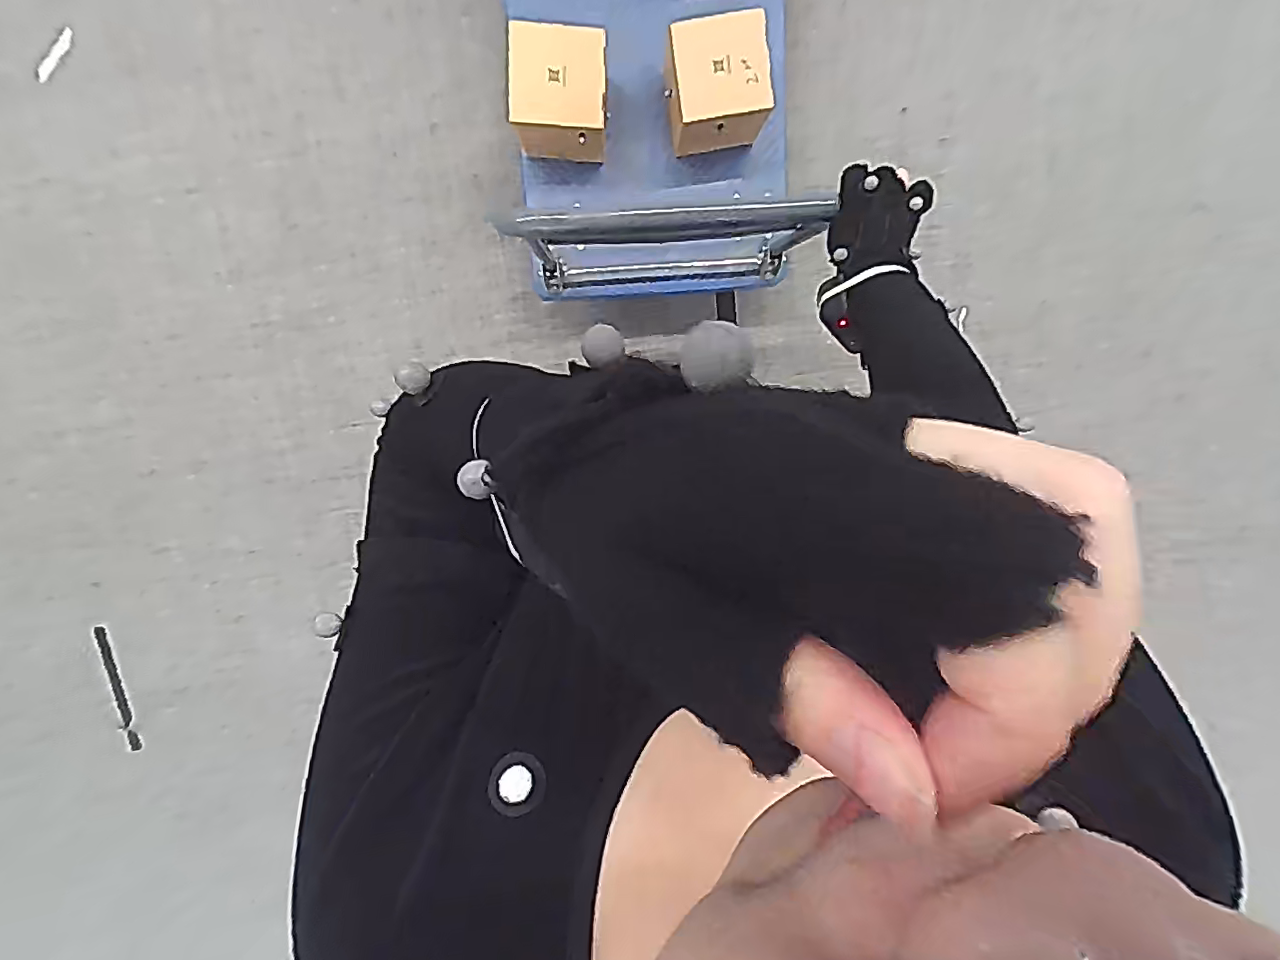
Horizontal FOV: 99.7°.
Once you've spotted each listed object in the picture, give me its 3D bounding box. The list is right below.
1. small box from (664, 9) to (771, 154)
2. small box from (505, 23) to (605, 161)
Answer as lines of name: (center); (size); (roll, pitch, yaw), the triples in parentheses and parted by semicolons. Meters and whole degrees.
small box: (0.144, -0.768, 1.062); (0.179, 0.176, 0.168); (-10, 102, 0)
small box: (-0.159, -0.744, 1.056); (0.179, 0.176, 0.168); (1, 102, -4)
